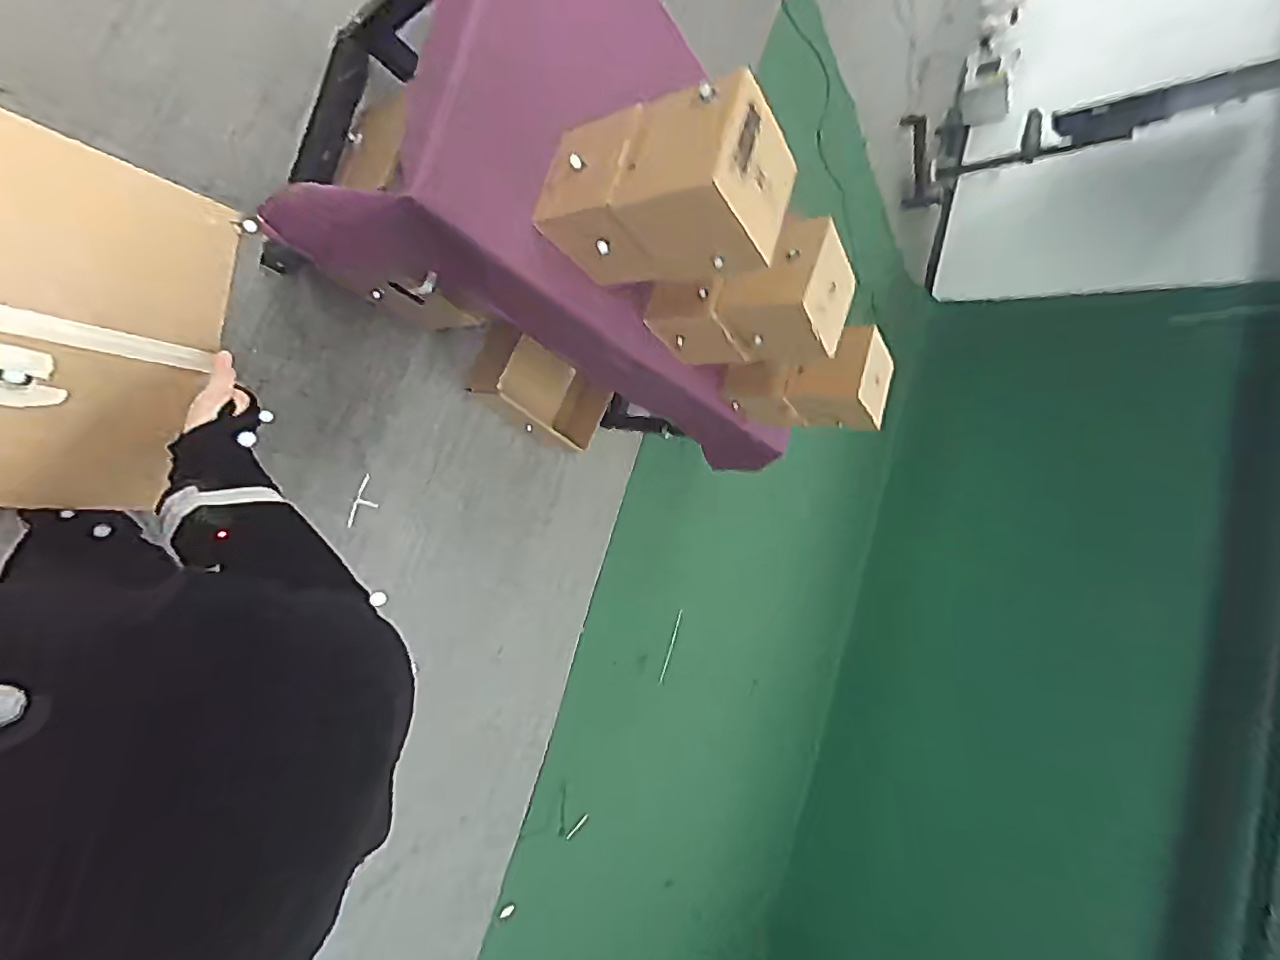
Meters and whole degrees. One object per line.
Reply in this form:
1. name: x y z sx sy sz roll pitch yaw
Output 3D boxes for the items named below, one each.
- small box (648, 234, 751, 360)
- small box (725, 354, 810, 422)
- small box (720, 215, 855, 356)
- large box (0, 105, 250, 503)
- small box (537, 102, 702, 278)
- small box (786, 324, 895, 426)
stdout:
1. small box: 0.141 -0.361 1.090 0.168 0.176 0.179 33 74 -48
2. small box: 0.329 -0.258 1.329 0.168 0.176 0.179 26 77 -49
3. small box: 0.268 -0.344 0.987 0.168 0.176 0.179 35 72 -47
4. large box: -0.655 -0.165 0.466 0.408 0.320 0.320 9 95 -59
5. small box: -0.034 -0.443 0.863 0.179 0.176 0.168 27 78 -48
6. small box: 0.455 -0.237 1.228 0.179 0.176 0.168 28 76 -48
